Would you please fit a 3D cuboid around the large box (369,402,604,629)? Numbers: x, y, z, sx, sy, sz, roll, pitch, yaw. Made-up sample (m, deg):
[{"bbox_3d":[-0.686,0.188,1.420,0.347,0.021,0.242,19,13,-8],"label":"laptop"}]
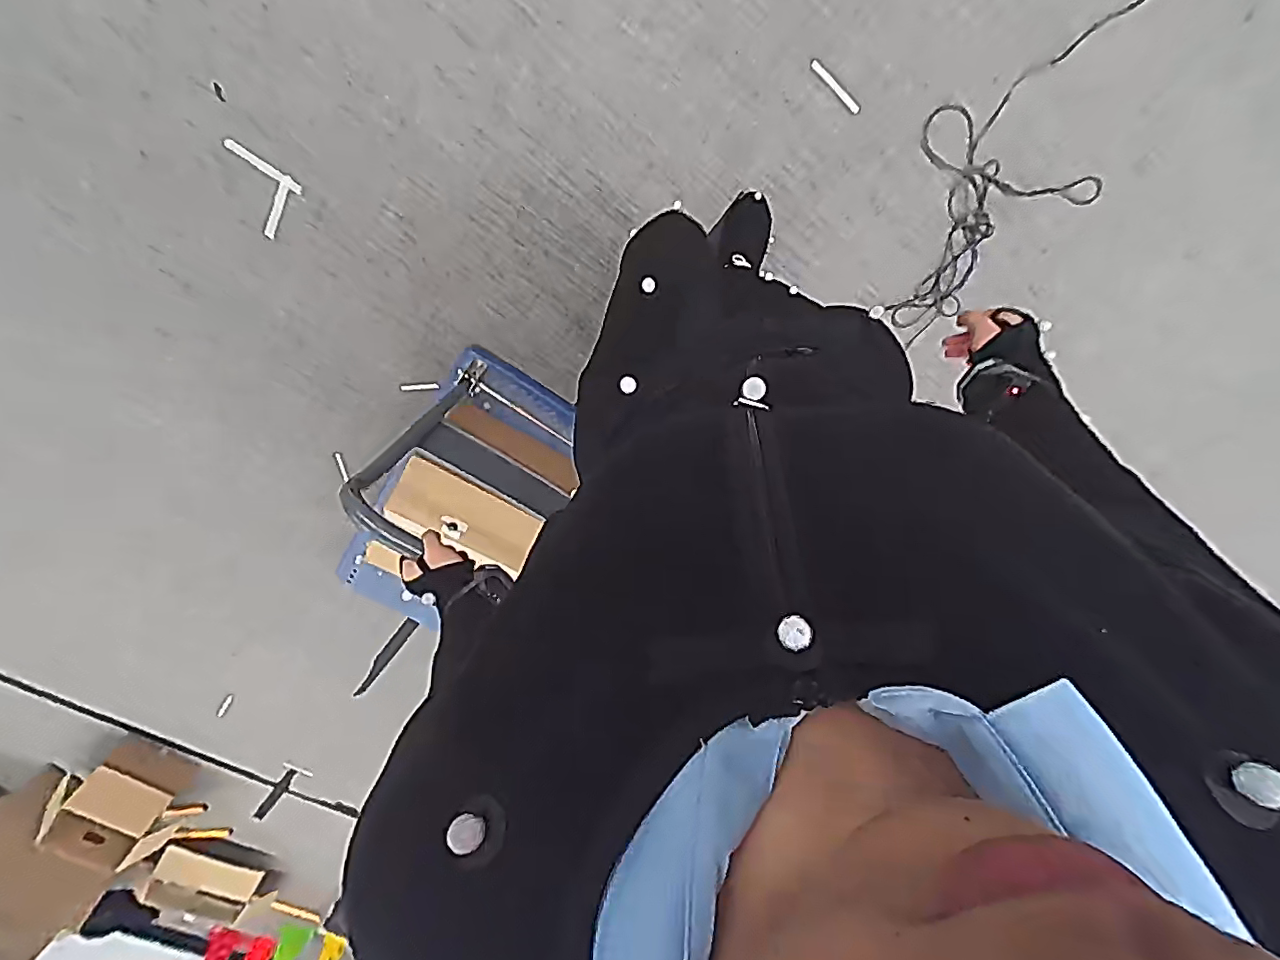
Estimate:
[{"bbox_3d":[-0.343,0.079,1.299,0.408,0.320,0.320,30,115,-13],"label":"large box"}]
